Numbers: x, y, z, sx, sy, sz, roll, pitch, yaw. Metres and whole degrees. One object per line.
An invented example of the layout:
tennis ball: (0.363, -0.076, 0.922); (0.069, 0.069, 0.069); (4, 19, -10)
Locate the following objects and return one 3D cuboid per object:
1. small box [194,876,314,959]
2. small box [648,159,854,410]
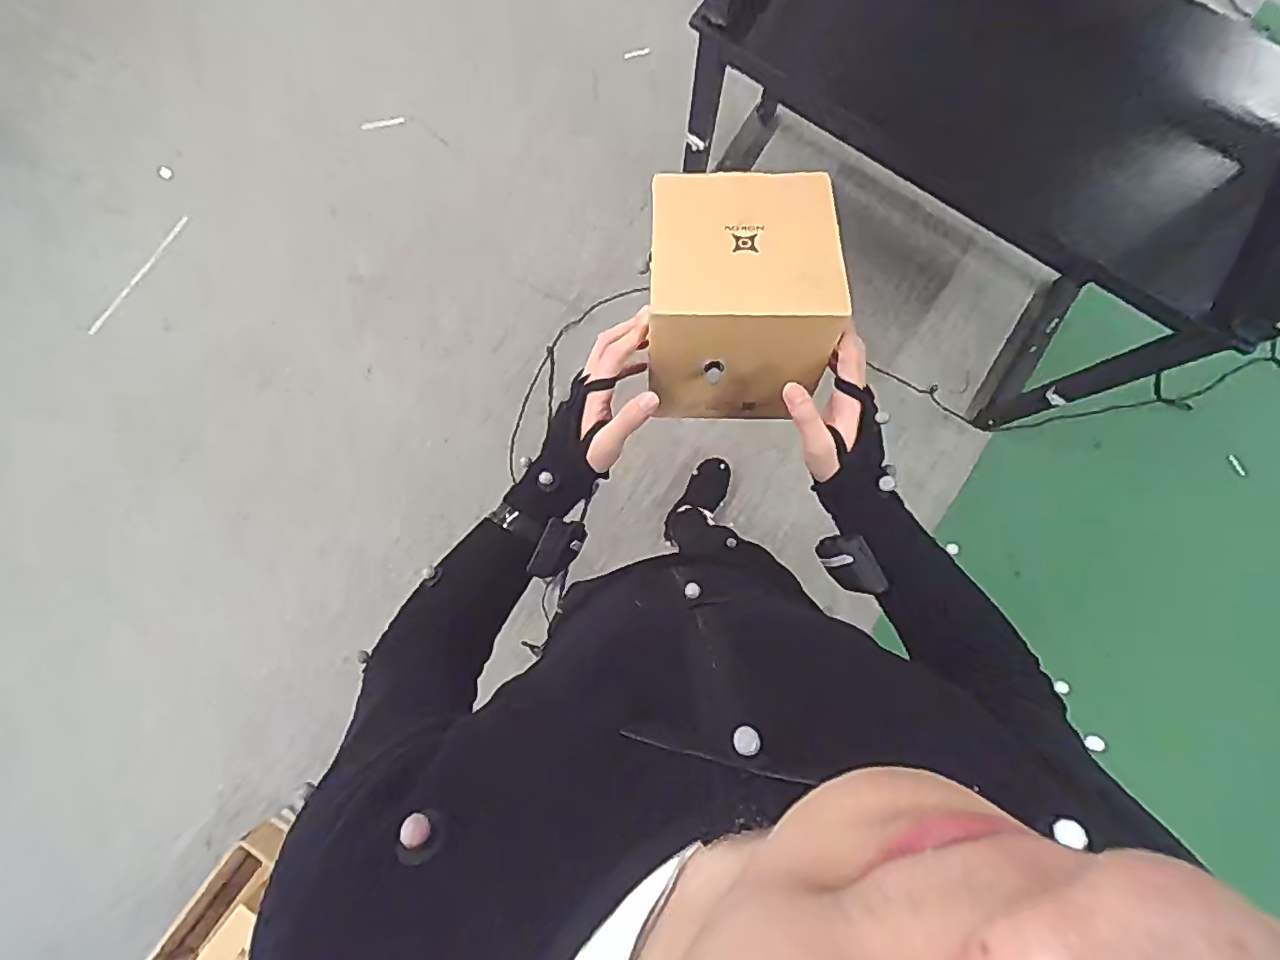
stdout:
small box: (-0.957, 1.149, 1.348); (0.168, 0.176, 0.179); (37, 83, 4)
small box: (0.095, -0.183, 0.536); (0.168, 0.176, 0.179); (1, 64, 2)
